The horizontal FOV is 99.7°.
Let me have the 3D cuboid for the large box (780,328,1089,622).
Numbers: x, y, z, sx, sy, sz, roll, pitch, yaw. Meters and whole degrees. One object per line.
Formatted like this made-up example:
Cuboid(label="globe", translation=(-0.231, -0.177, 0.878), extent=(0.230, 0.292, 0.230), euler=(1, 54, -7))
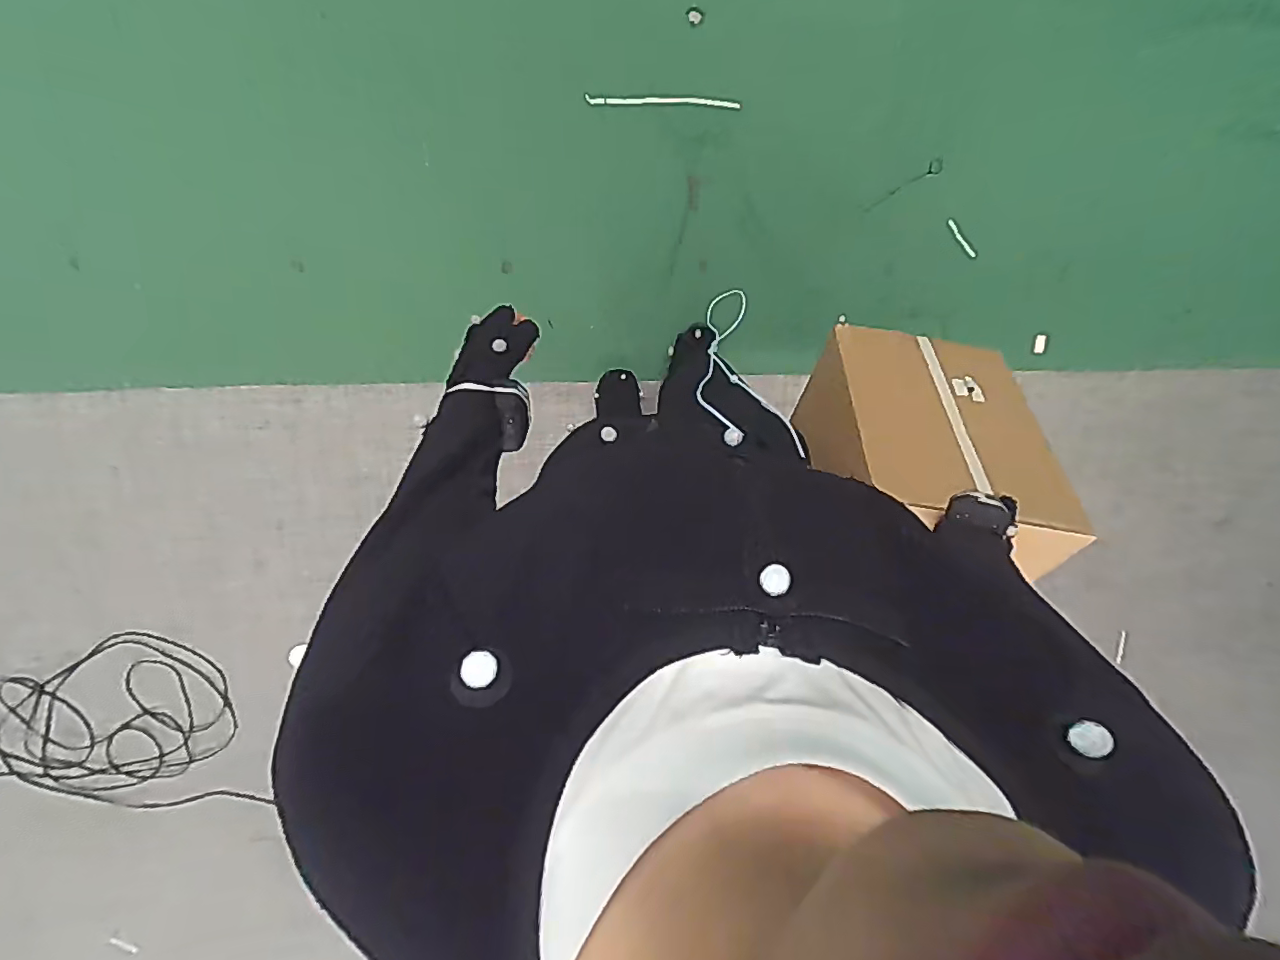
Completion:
Cuboid(label="large box", translation=(0.460, -0.007, 0.965), extent=(0.320, 0.408, 0.320), euler=(10, 140, -3))
